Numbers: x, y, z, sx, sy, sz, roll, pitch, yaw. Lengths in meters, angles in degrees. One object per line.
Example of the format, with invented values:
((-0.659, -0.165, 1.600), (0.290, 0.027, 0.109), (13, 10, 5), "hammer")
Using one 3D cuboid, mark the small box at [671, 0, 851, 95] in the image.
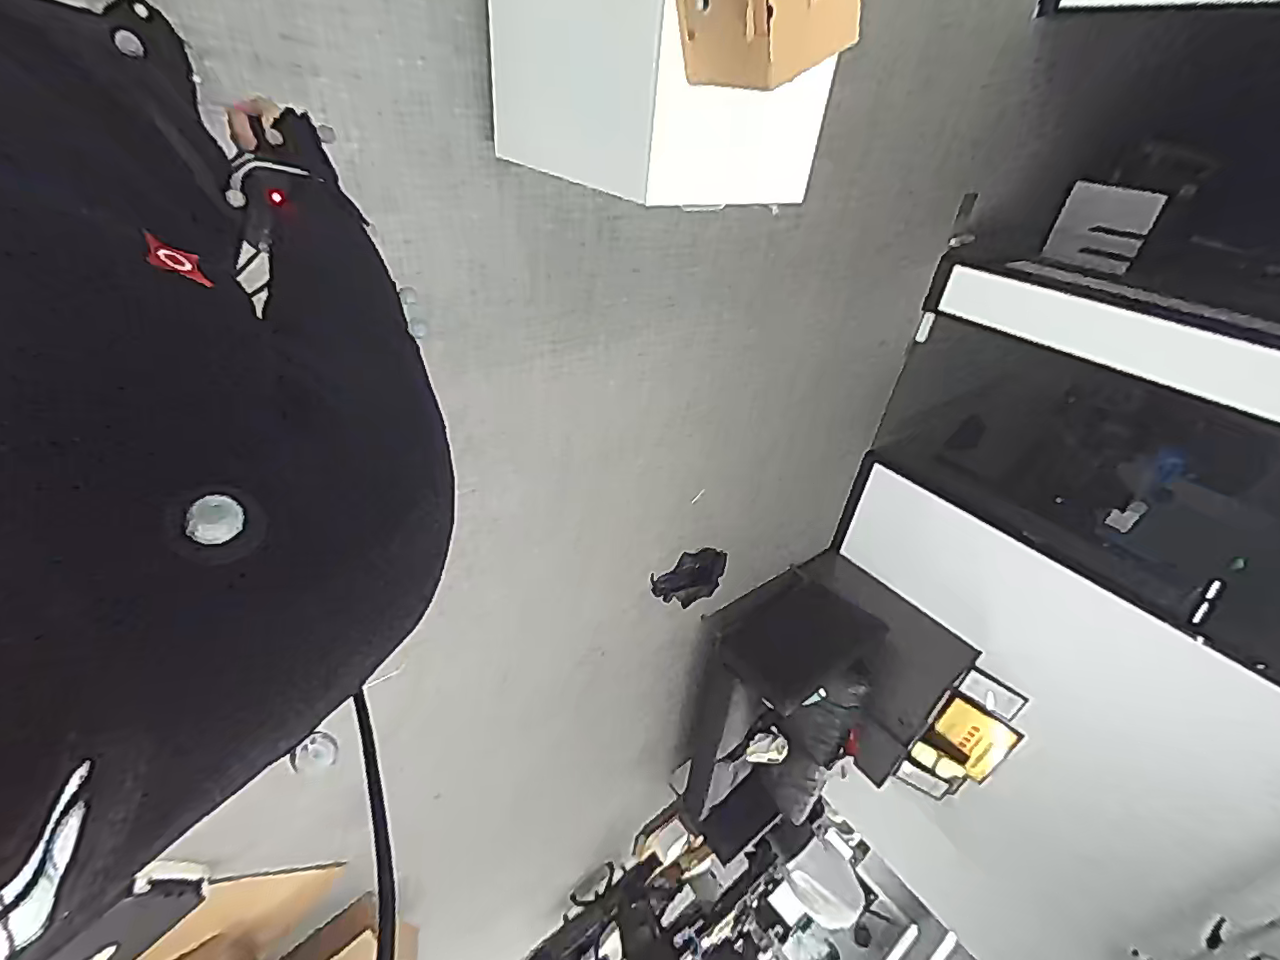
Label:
((0.161, -0.651, 0.725), (0.179, 0.176, 0.168), (-38, 142, -15), "small box")
